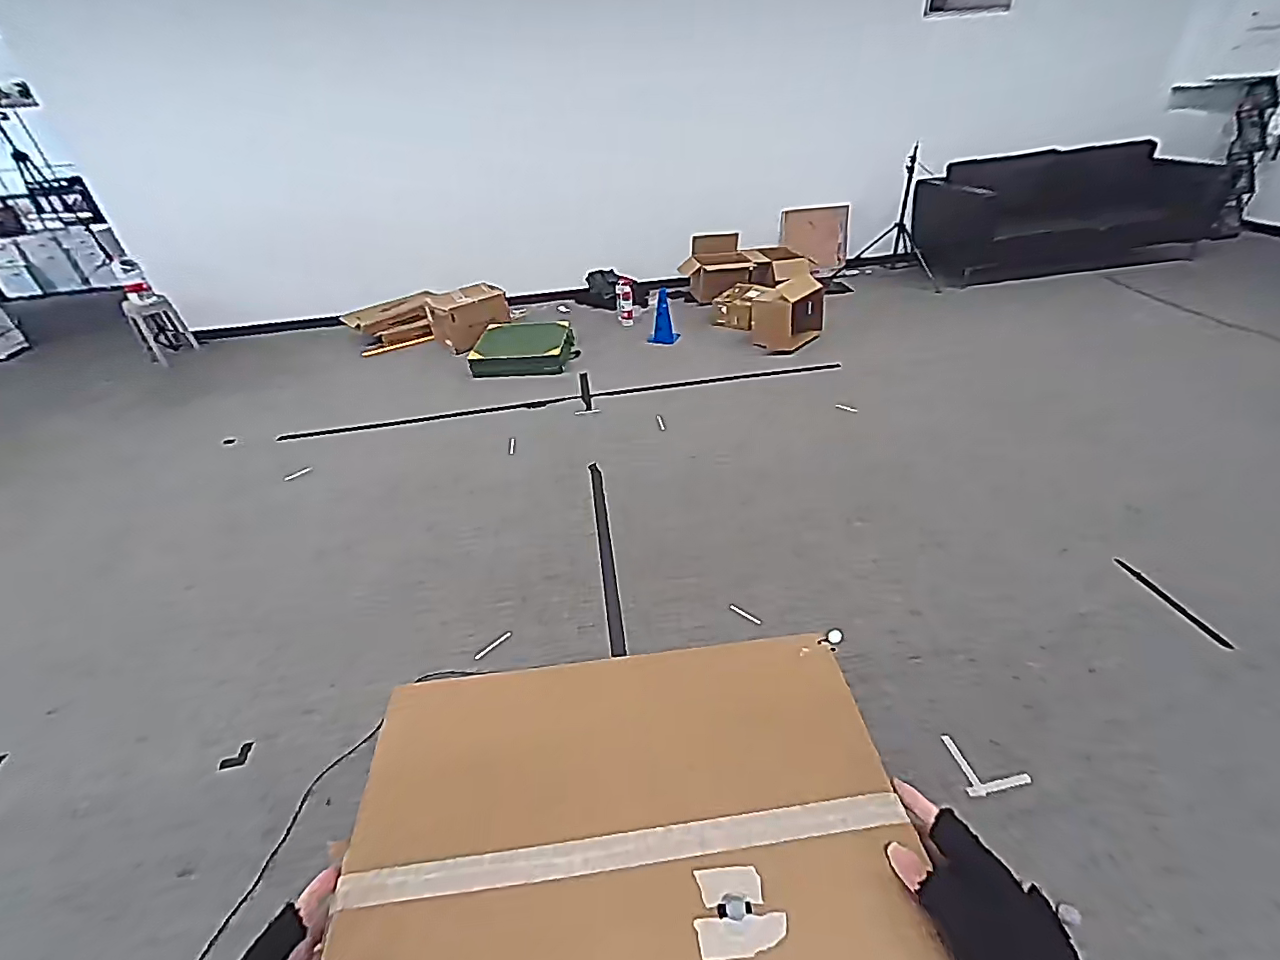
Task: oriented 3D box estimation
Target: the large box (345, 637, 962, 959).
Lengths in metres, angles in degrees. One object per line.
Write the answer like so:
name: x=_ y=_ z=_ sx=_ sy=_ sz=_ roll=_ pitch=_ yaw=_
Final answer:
large box: x=0.003 y=0.385 z=0.492 sx=0.408 sy=0.320 sz=0.320 roll=-6 pitch=40 yaw=-4
